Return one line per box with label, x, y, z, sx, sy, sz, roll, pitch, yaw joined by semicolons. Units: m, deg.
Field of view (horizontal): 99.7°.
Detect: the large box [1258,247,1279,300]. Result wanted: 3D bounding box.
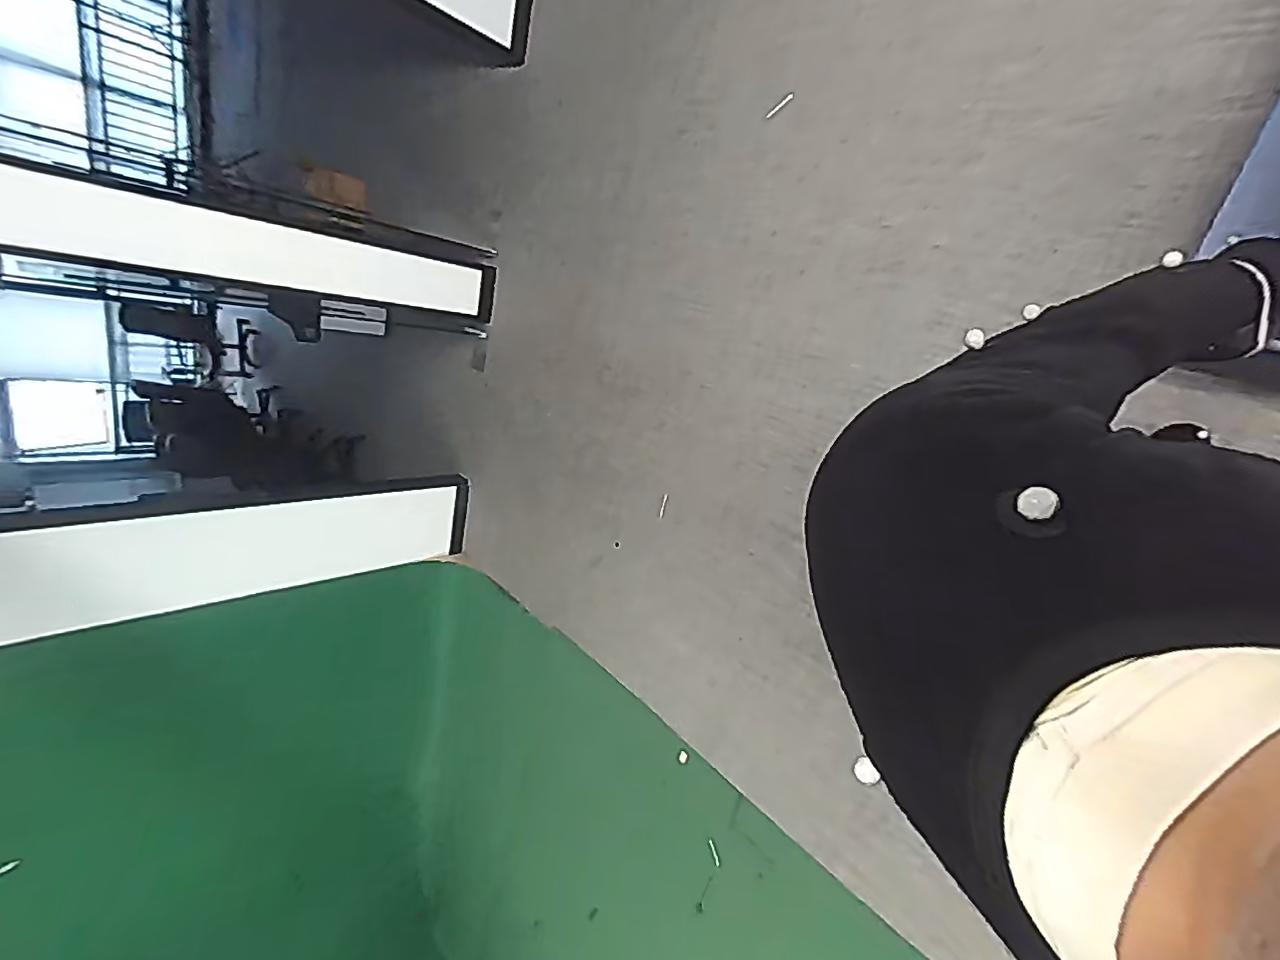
large box;1.140;-0.444;0.703;0.320;0.320;0.408;30;113;37
